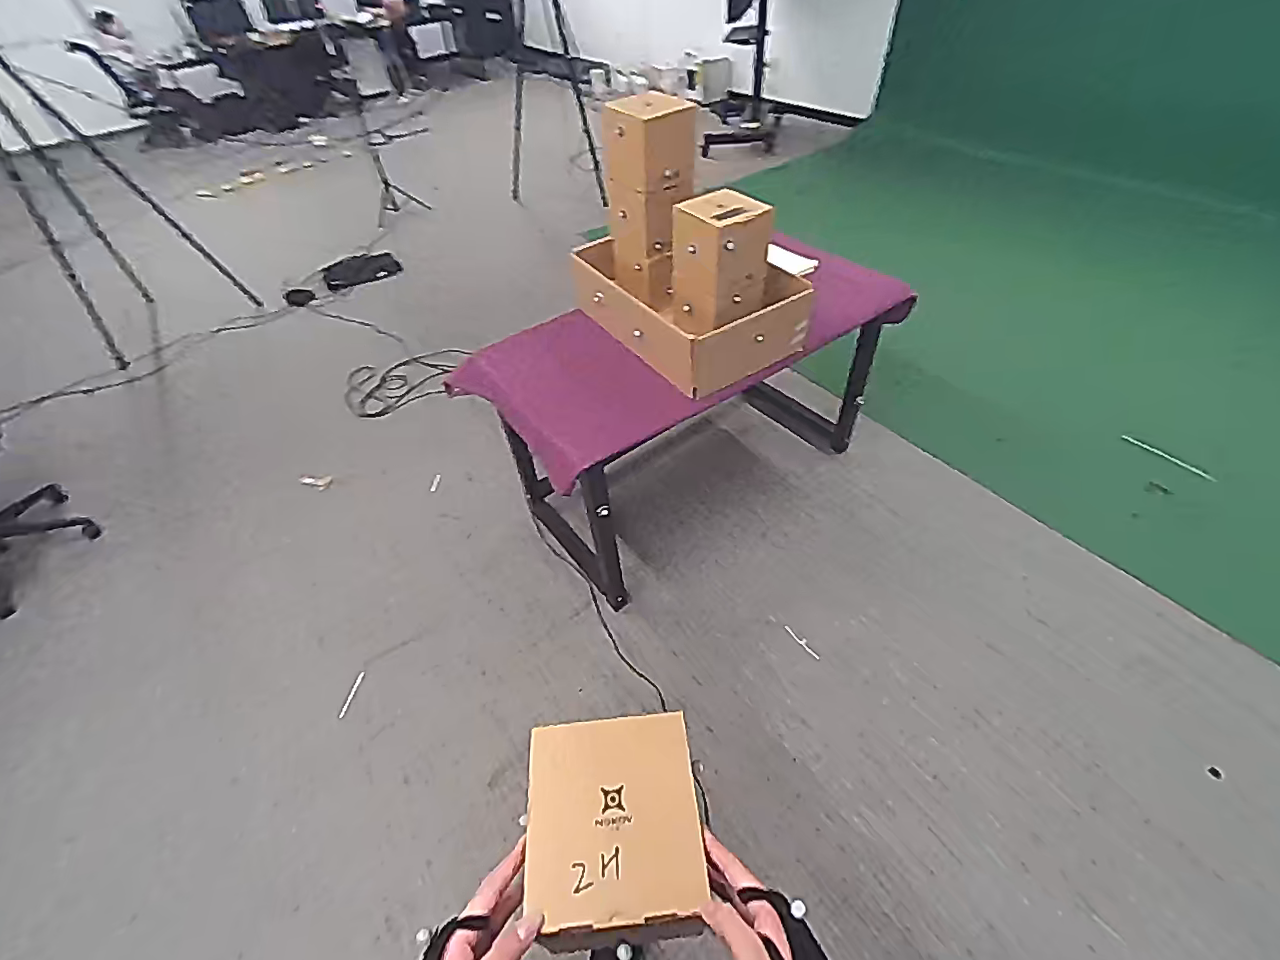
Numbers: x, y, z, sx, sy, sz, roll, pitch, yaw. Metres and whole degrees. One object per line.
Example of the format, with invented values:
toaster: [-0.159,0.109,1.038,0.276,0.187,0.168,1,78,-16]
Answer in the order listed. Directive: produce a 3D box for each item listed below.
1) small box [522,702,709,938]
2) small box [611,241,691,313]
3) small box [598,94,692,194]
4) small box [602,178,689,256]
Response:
small box: [-0.024,0.365,0.582,0.168,0.176,0.179,-4,45,-1]
small box: [0.032,-0.622,1.601,0.168,0.176,0.179,-30,54,-22]
small box: [0.013,-0.845,1.362,0.168,0.176,0.179,-31,54,-22]
small box: [0.019,-0.736,1.483,0.168,0.176,0.179,-31,53,-22]
